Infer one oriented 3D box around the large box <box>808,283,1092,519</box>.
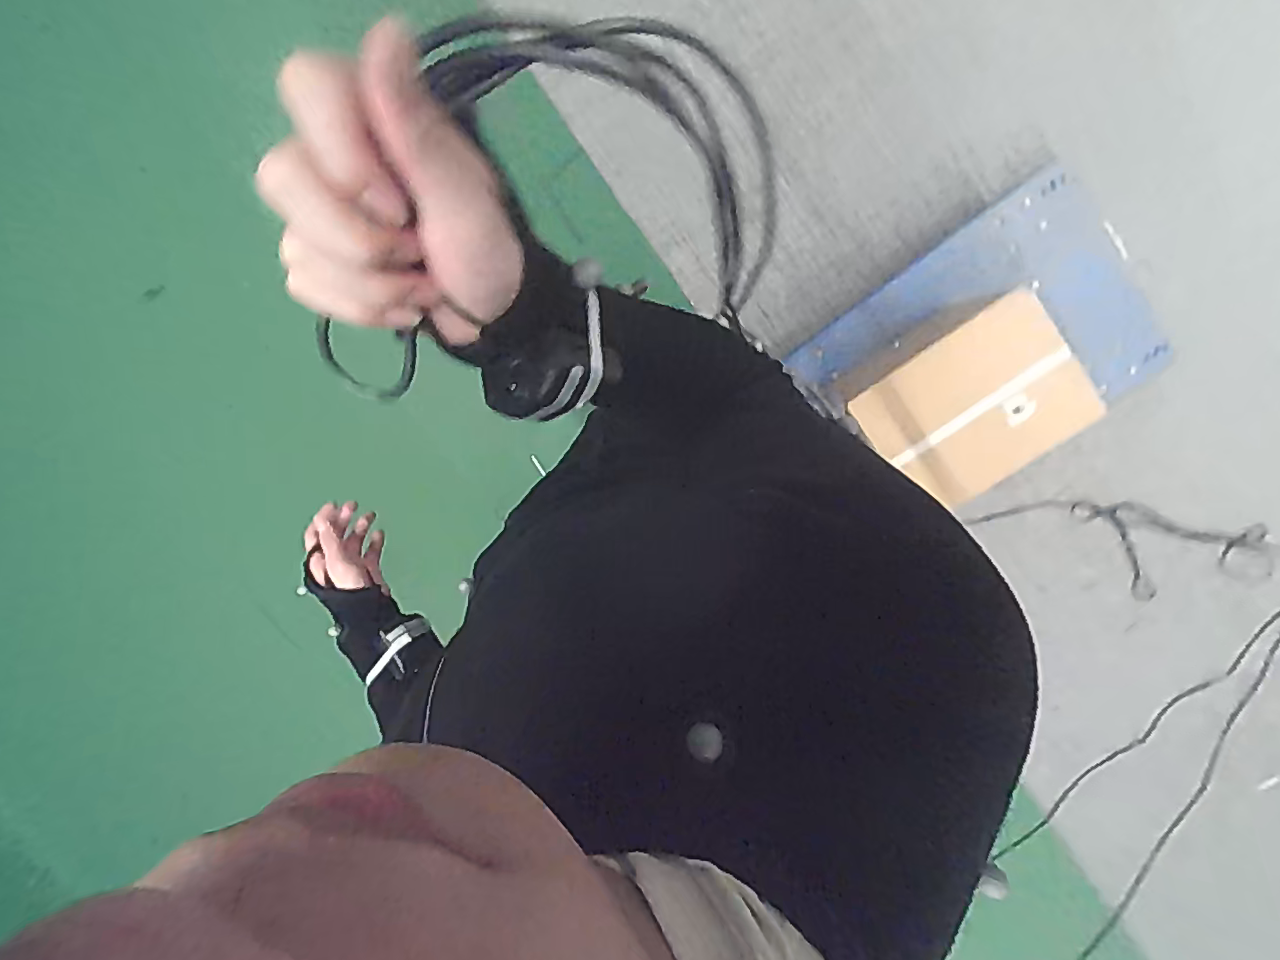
[{"bbox_3d":[0.666,-0.172,1.238,0.408,0.320,0.320,-36,96,8],"label":"large box"}]
